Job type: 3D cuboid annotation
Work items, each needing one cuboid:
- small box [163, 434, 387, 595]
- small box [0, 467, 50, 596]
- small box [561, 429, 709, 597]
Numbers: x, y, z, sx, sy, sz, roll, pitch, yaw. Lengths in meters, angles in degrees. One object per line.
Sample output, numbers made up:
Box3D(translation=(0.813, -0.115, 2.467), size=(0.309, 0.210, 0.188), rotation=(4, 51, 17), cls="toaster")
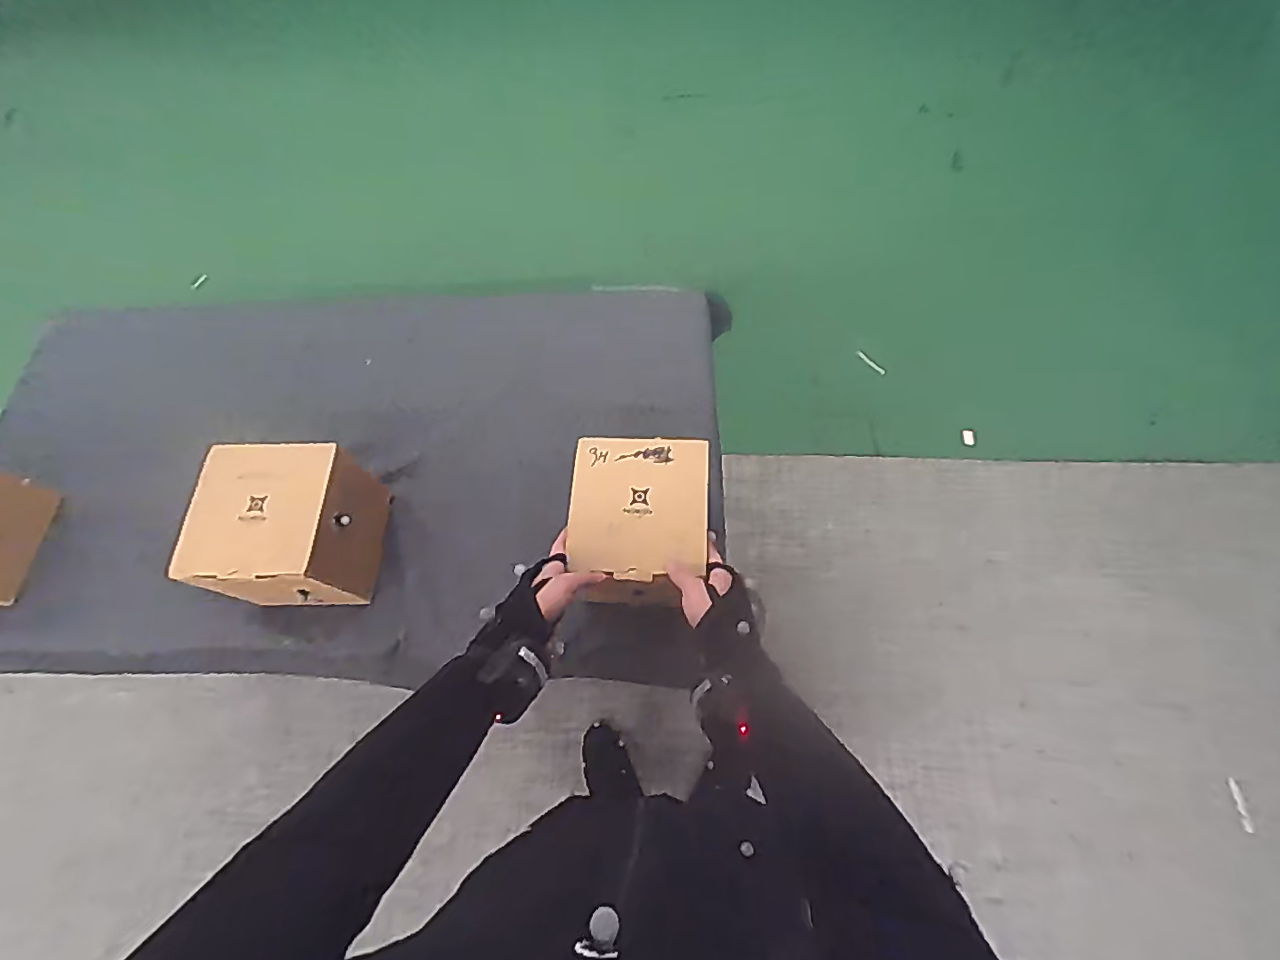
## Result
Box3D(translation=(-0.465, 0.054, 0.724), size=(0.168, 0.176, 0.179), rotation=(-1, 65, 0), cls="small box")
Box3D(translation=(-0.987, 0.057, 0.736), size=(0.168, 0.176, 0.179), rotation=(0, 67, 2), cls="small box")
Box3D(translation=(0.004, 0.050, 0.702), size=(0.168, 0.176, 0.179), rotation=(2, 67, 5), cls="small box")
